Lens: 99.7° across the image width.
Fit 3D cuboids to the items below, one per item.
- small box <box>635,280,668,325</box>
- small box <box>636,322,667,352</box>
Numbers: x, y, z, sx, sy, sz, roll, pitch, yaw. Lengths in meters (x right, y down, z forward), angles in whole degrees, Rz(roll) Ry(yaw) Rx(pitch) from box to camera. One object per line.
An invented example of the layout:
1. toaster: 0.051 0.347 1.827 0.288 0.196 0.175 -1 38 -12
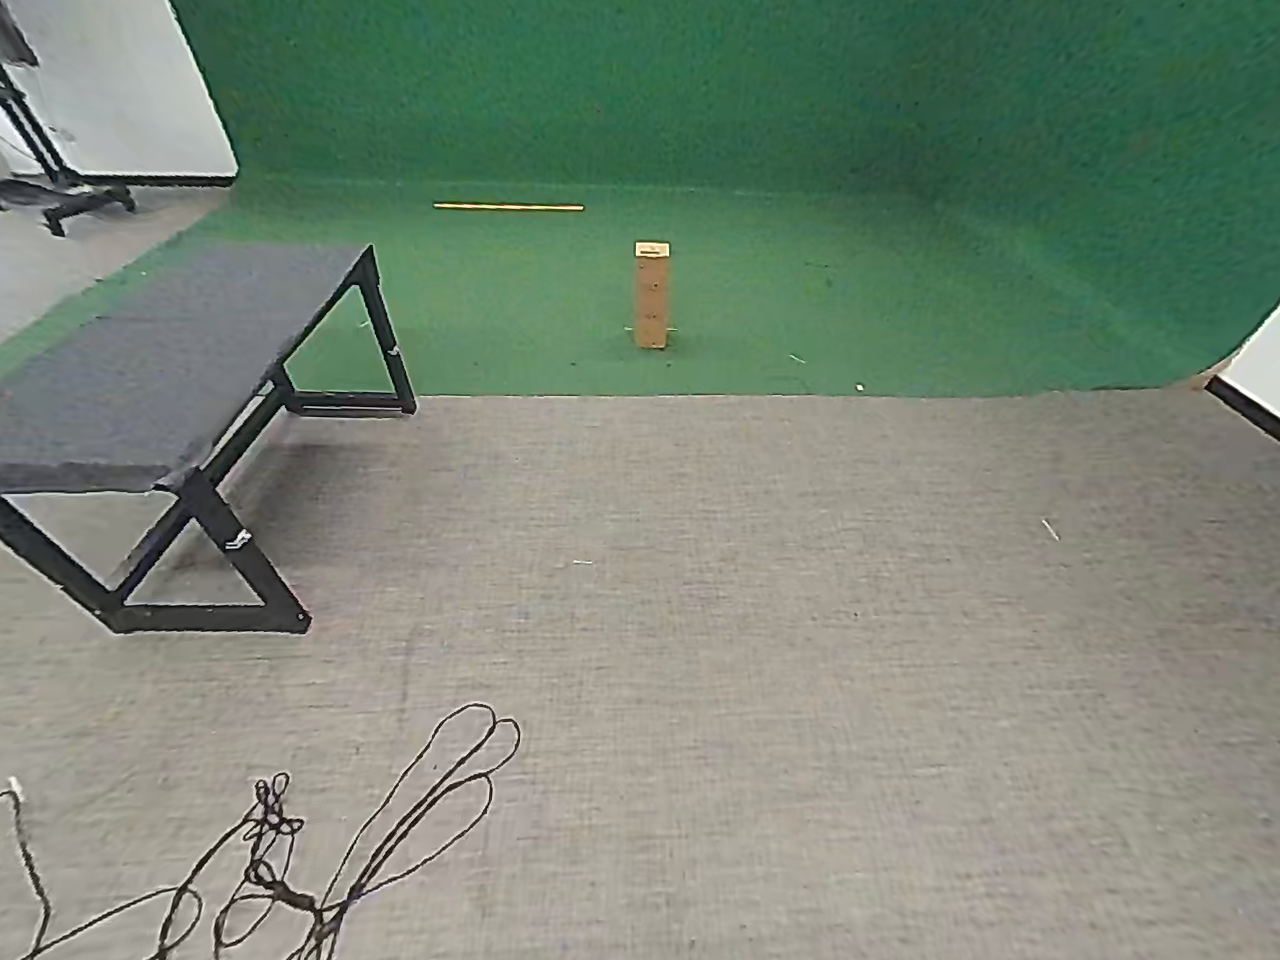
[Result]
1. small box: 0.061 -0.933 2.841 0.168 0.176 0.179 0 43 1
2. small box: 0.064 -0.812 2.953 0.168 0.176 0.179 -1 42 -1
